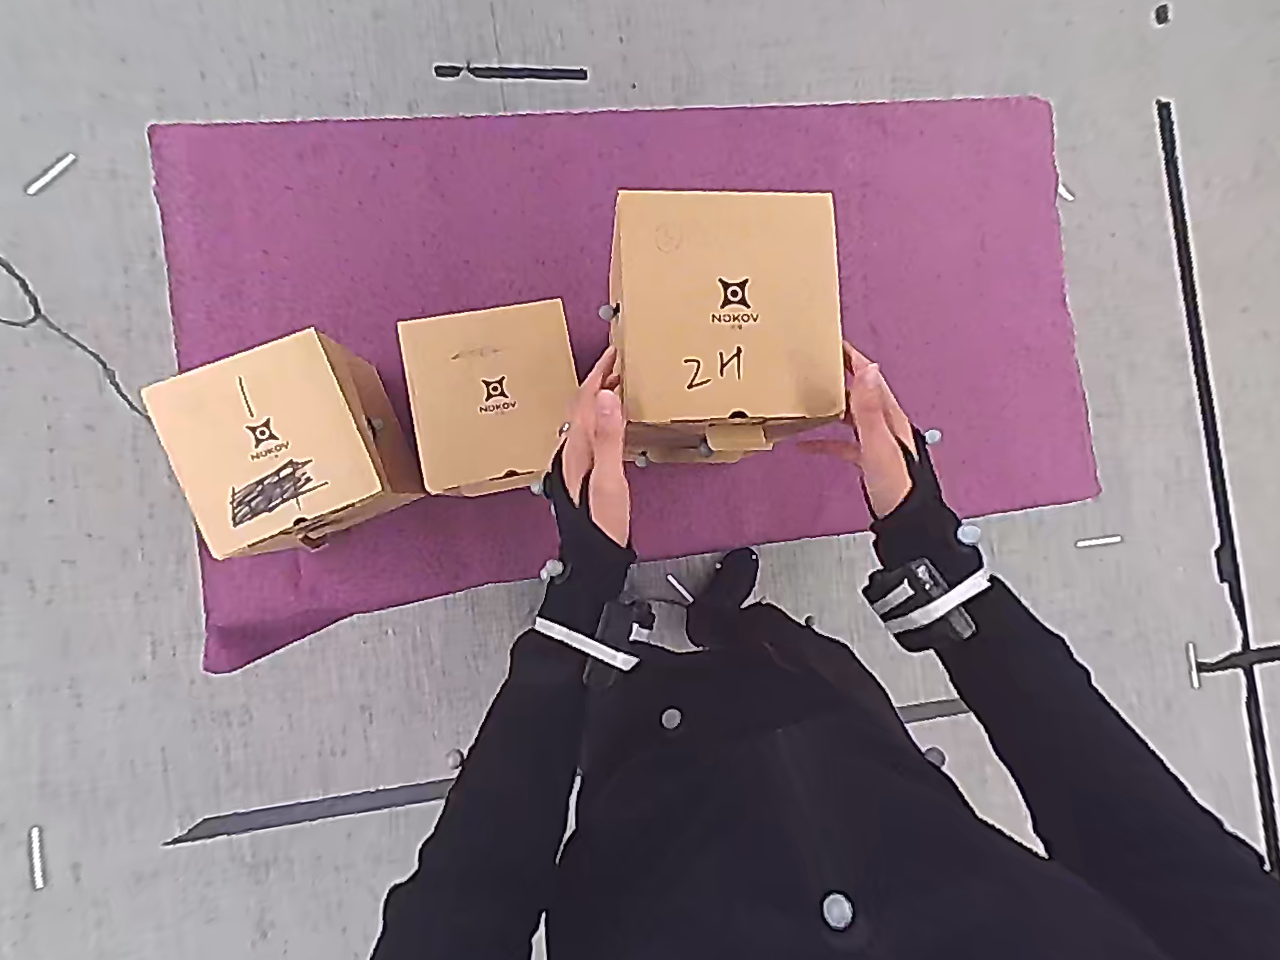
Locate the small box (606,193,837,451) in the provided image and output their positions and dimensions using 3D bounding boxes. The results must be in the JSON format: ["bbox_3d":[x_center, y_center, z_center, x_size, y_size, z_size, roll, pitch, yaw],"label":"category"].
[{"bbox_3d":[0.056,-0.123,0.482,0.168,0.176,0.179,-2,87,-5],"label":"small box"}]

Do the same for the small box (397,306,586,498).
[{"bbox_3d":[-0.157,-0.078,0.623,0.168,0.176,0.179,-11,89,-8],"label":"small box"}]
